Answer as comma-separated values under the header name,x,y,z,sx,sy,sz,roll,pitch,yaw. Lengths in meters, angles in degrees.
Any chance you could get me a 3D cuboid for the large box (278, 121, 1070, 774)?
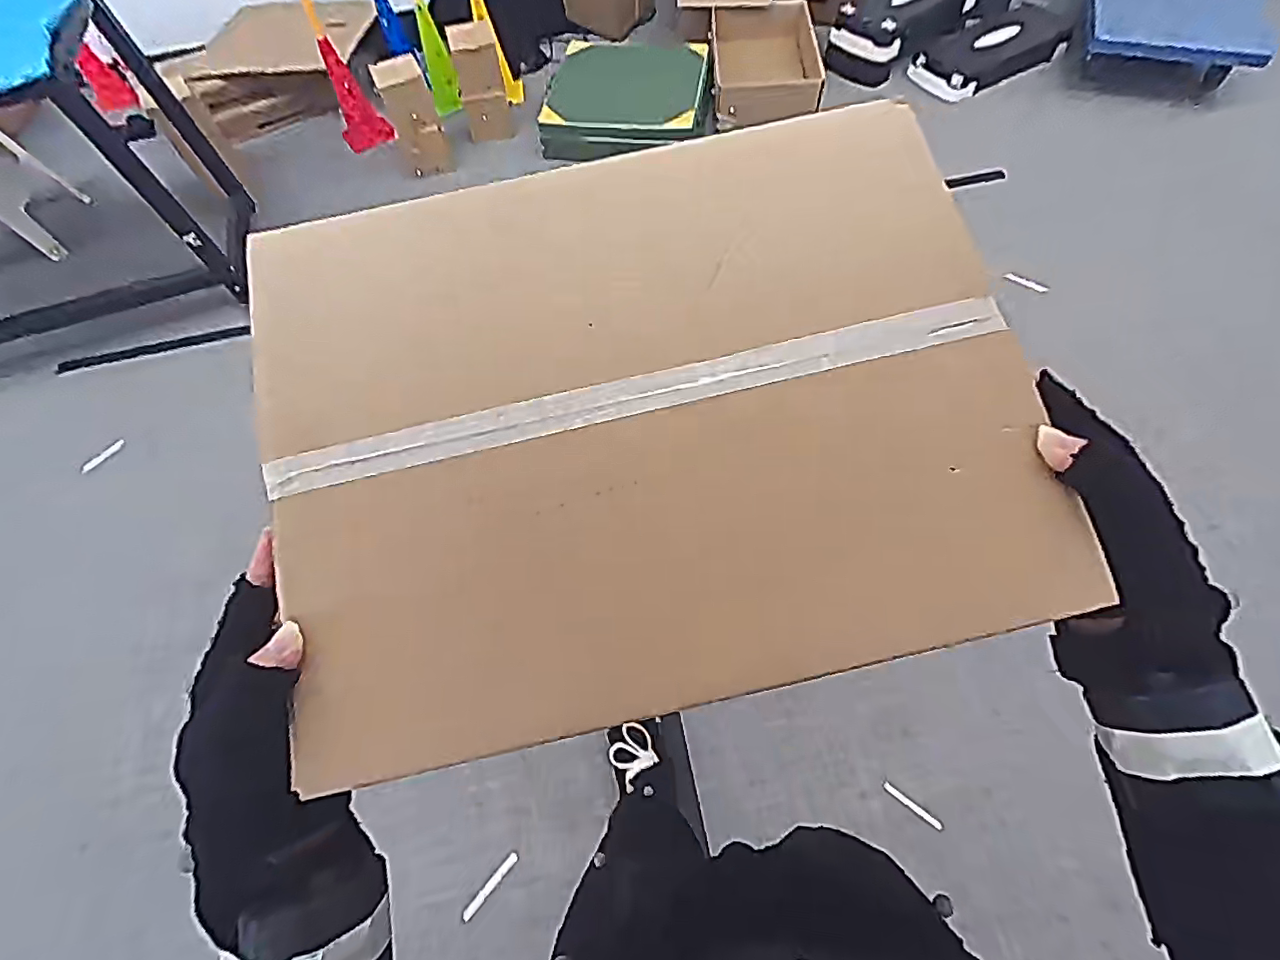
name,x,y,z,sx,sy,sz,roll,pitch,yaw
large box,0.002,-0.008,0.455,0.408,0.320,0.320,-14,77,-1
